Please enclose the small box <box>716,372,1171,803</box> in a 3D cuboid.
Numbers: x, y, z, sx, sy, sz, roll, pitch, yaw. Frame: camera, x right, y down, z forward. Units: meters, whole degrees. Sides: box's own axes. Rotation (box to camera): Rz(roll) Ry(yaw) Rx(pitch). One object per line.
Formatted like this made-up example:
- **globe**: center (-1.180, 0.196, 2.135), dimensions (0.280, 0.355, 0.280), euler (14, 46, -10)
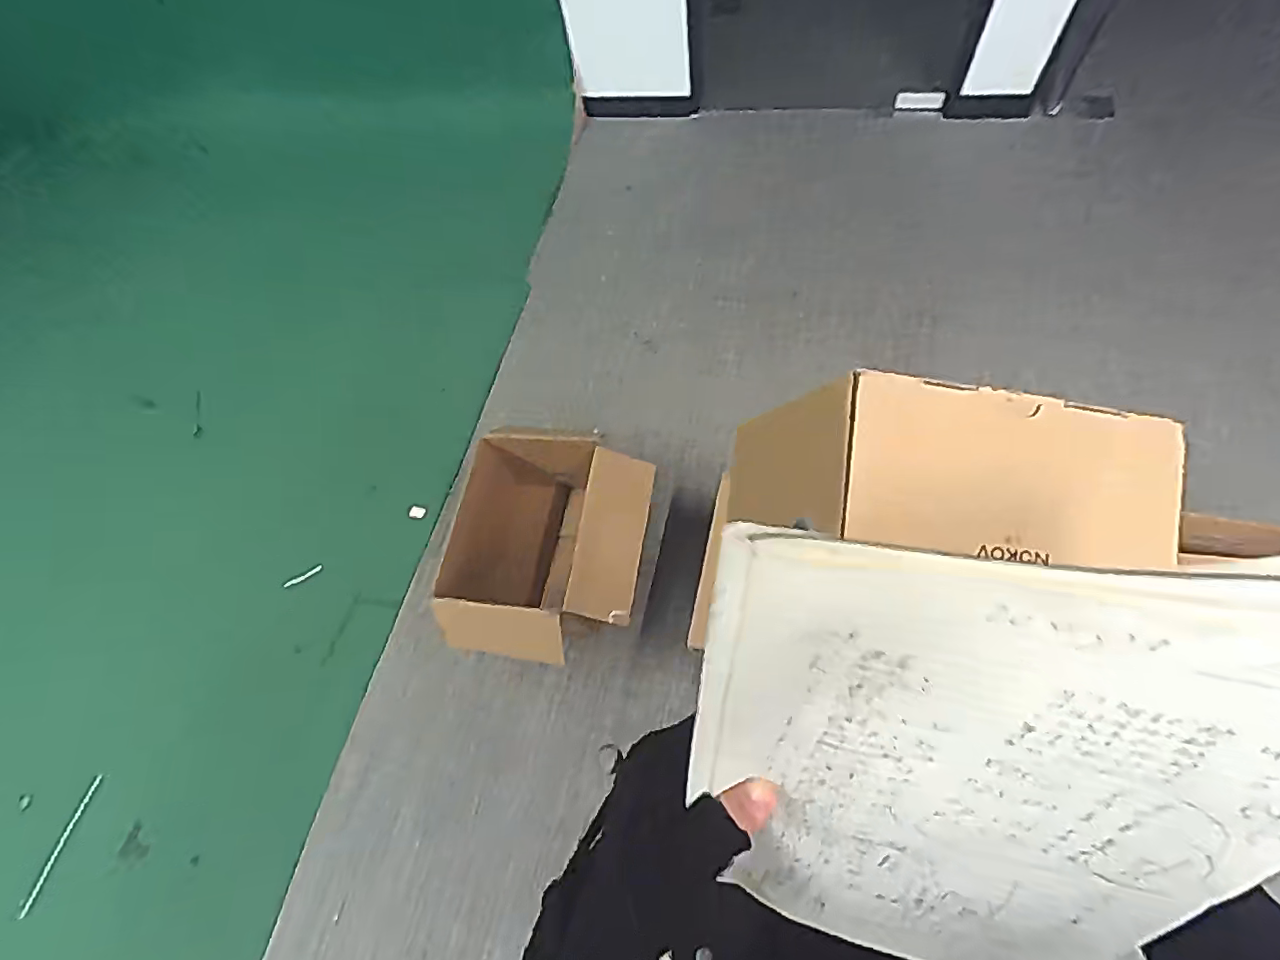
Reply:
- **small box**: center (0.148, 0.054, 0.319), dimensions (0.168, 0.176, 0.179), euler (7, 84, -6)
